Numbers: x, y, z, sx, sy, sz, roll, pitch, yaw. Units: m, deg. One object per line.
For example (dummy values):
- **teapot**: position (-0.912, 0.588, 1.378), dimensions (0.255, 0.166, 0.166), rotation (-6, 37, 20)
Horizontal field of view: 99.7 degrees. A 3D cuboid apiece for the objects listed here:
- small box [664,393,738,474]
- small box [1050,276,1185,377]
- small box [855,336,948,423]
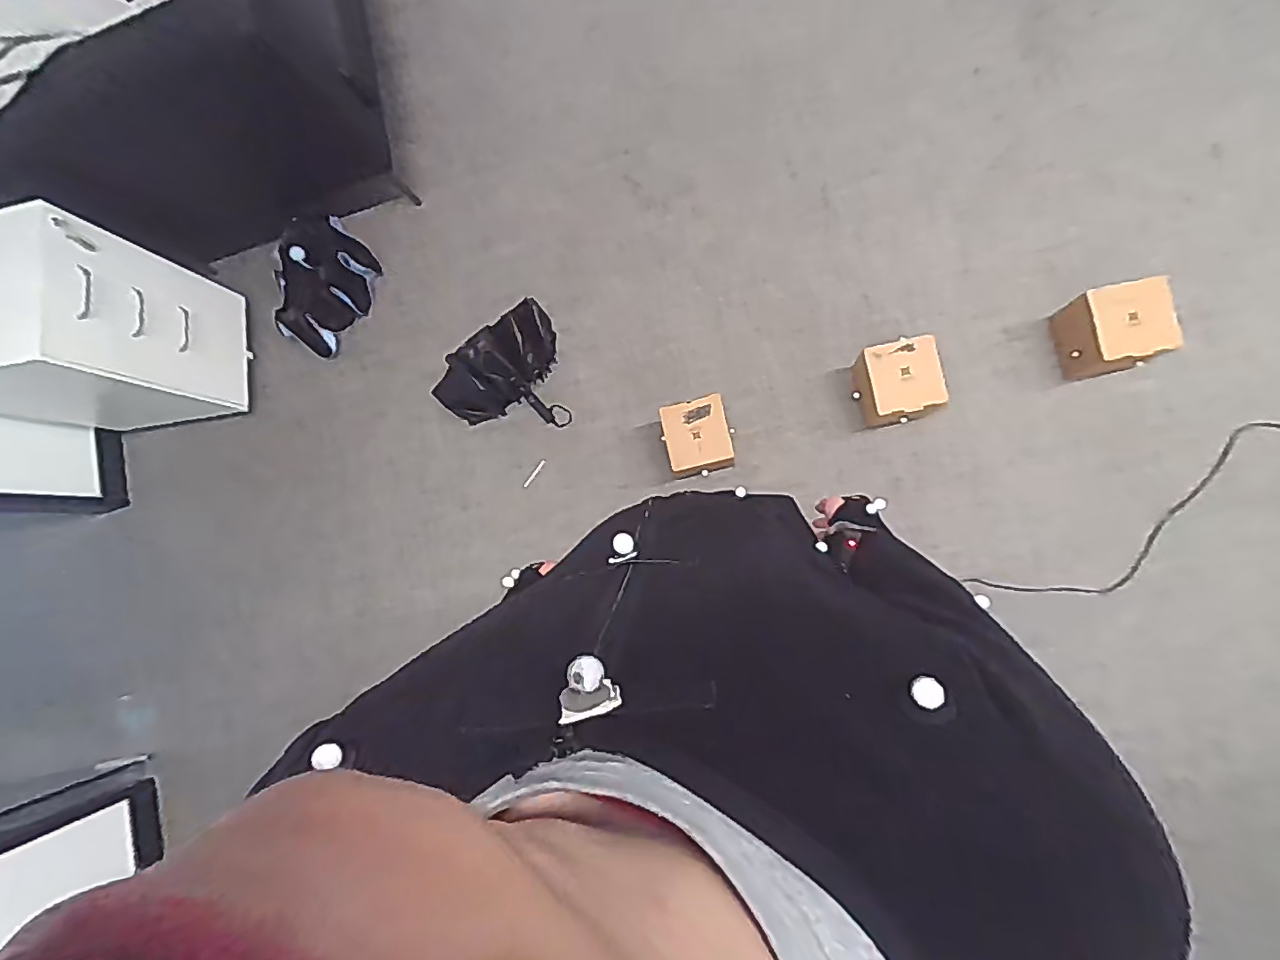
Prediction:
- **small box**: position (0.172, -0.122, 1.495), dimensions (0.168, 0.176, 0.179), rotation (-13, 84, 10)
- **small box**: position (1.151, -0.363, 1.318), dimensions (0.168, 0.176, 0.179), rotation (-11, 82, 10)
- **small box**: position (0.672, -0.251, 1.406), dimensions (0.168, 0.176, 0.179), rotation (-11, 84, 11)
